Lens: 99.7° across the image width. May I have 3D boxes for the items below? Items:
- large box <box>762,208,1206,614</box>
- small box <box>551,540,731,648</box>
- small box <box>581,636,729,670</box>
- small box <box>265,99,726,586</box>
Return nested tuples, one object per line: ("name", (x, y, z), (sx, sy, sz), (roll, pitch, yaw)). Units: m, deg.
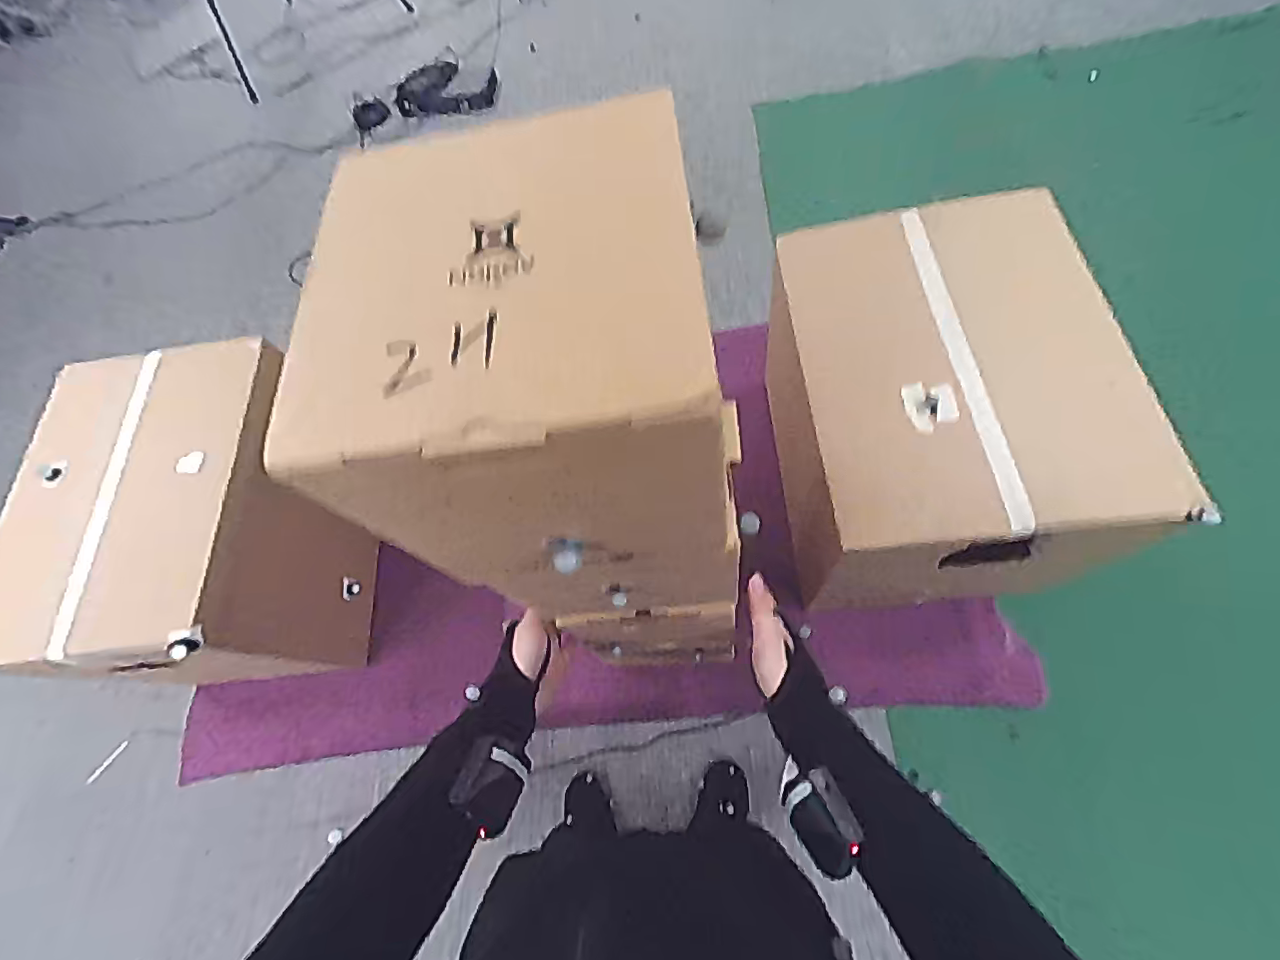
("large box", (0.350, -0.063, 0.700), (0.320, 0.320, 0.408), (-7, 66, 8))
("small box", (0.009, 0.082, 0.585), (0.168, 0.176, 0.179), (-5, 64, 6))
("small box", (0.026, 0.160, 0.731), (0.179, 0.176, 0.168), (-5, 64, 6))
("small box", (-0.046, -0.054, 0.291), (0.168, 0.176, 0.179), (-7, 65, 7))
